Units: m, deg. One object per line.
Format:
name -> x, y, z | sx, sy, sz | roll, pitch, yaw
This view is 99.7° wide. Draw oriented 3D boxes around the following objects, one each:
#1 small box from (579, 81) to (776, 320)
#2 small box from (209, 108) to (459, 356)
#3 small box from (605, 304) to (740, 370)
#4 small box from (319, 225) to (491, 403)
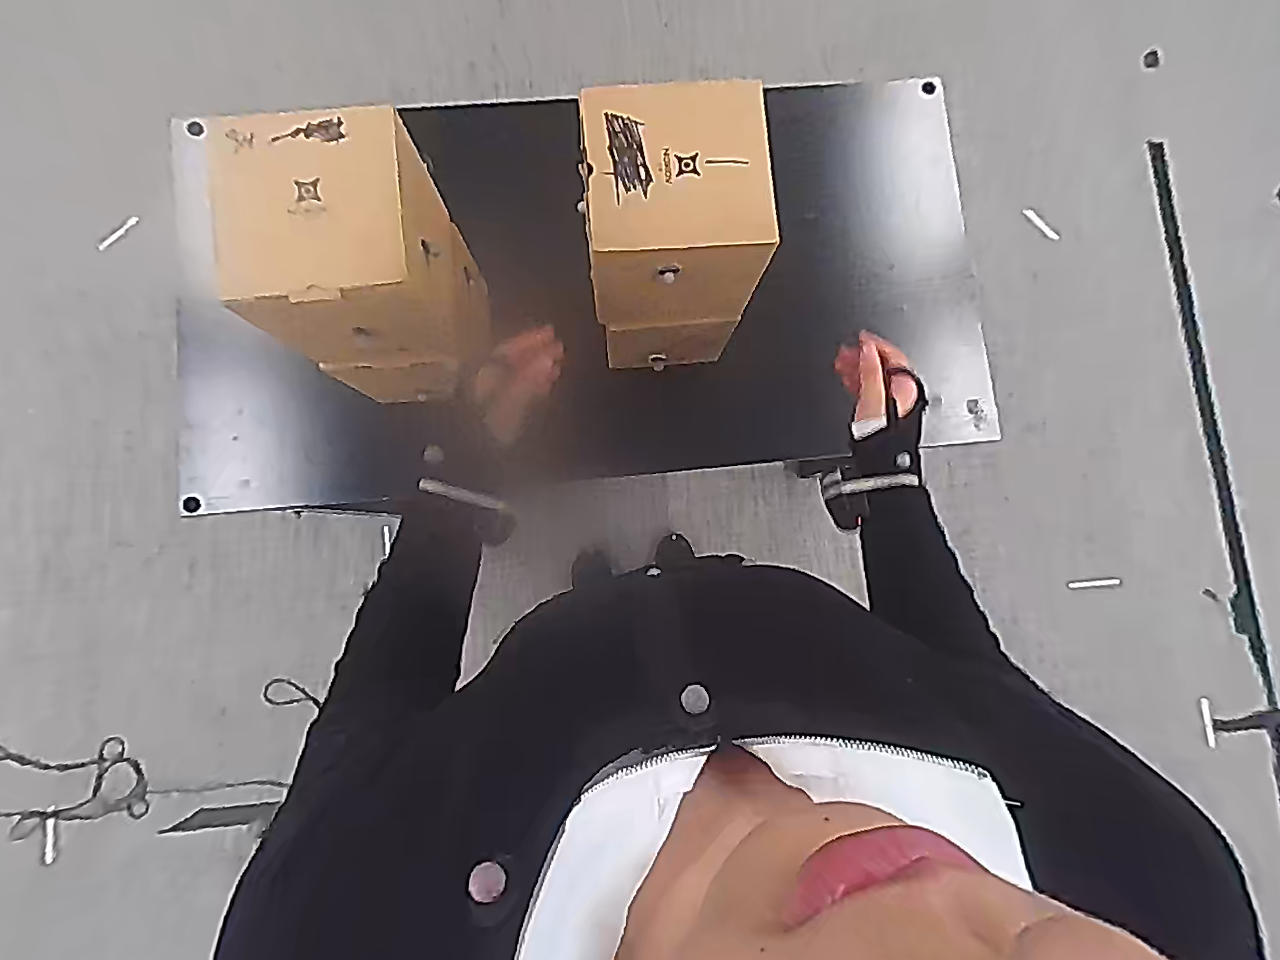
small box -> 0.033, -0.283, 0.582 | 0.179, 0.176, 0.168 | -4, 84, -2
small box -> -0.297, -0.237, 0.560 | 0.168, 0.176, 0.179 | -7, 85, -3
small box -> 0.031, -0.266, 0.746 | 0.168, 0.176, 0.179 | -7, 85, -2
small box -> -0.302, -0.212, 0.723 | 0.168, 0.176, 0.179 | -4, 85, -3
